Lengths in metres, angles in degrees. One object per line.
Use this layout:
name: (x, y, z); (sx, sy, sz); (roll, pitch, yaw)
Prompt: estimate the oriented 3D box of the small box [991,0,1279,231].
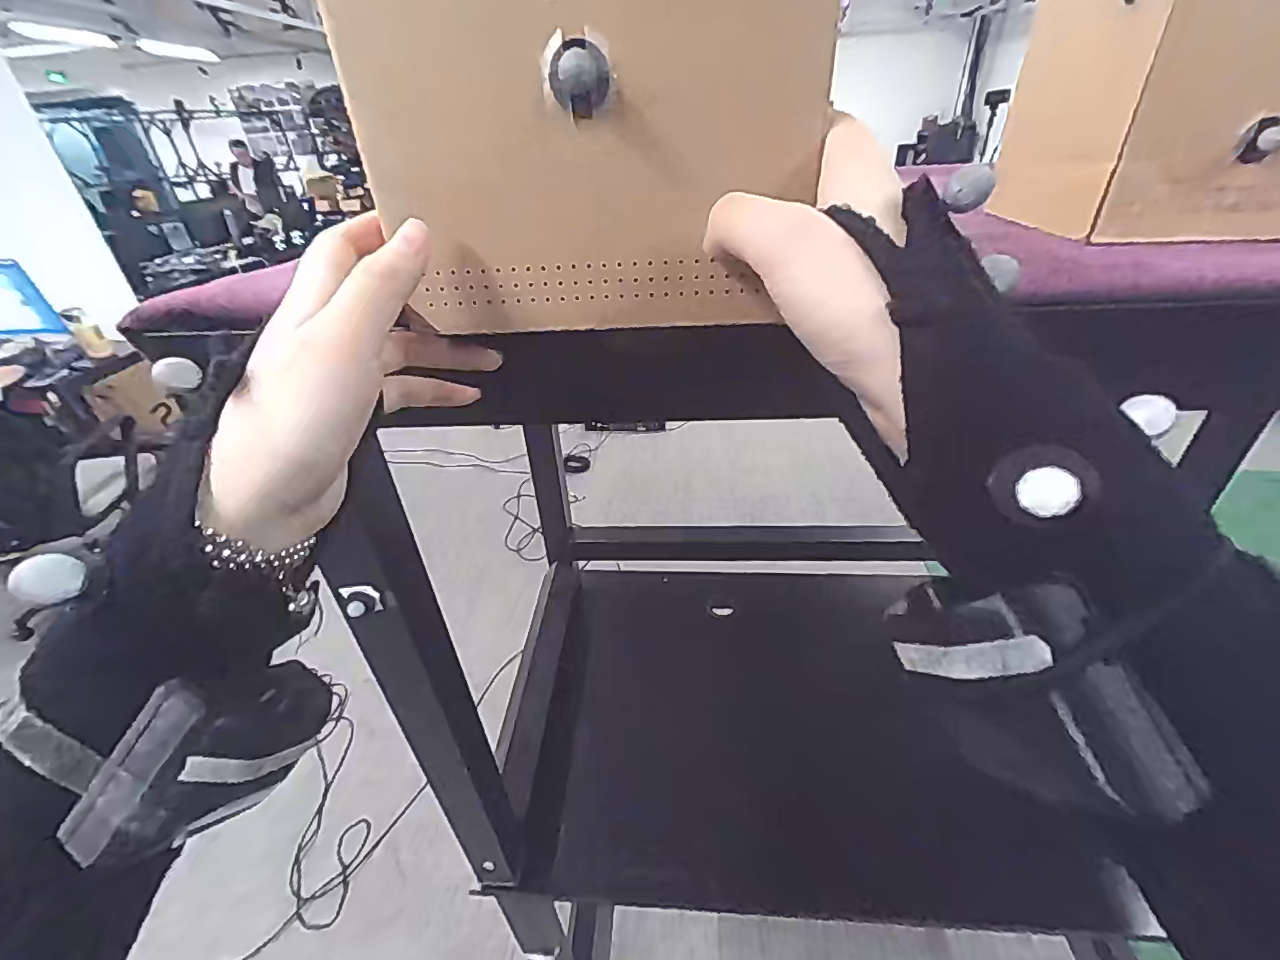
small box: (0.364, -0.264, 0.349); (0.168, 0.176, 0.179); (2, 33, 9)
